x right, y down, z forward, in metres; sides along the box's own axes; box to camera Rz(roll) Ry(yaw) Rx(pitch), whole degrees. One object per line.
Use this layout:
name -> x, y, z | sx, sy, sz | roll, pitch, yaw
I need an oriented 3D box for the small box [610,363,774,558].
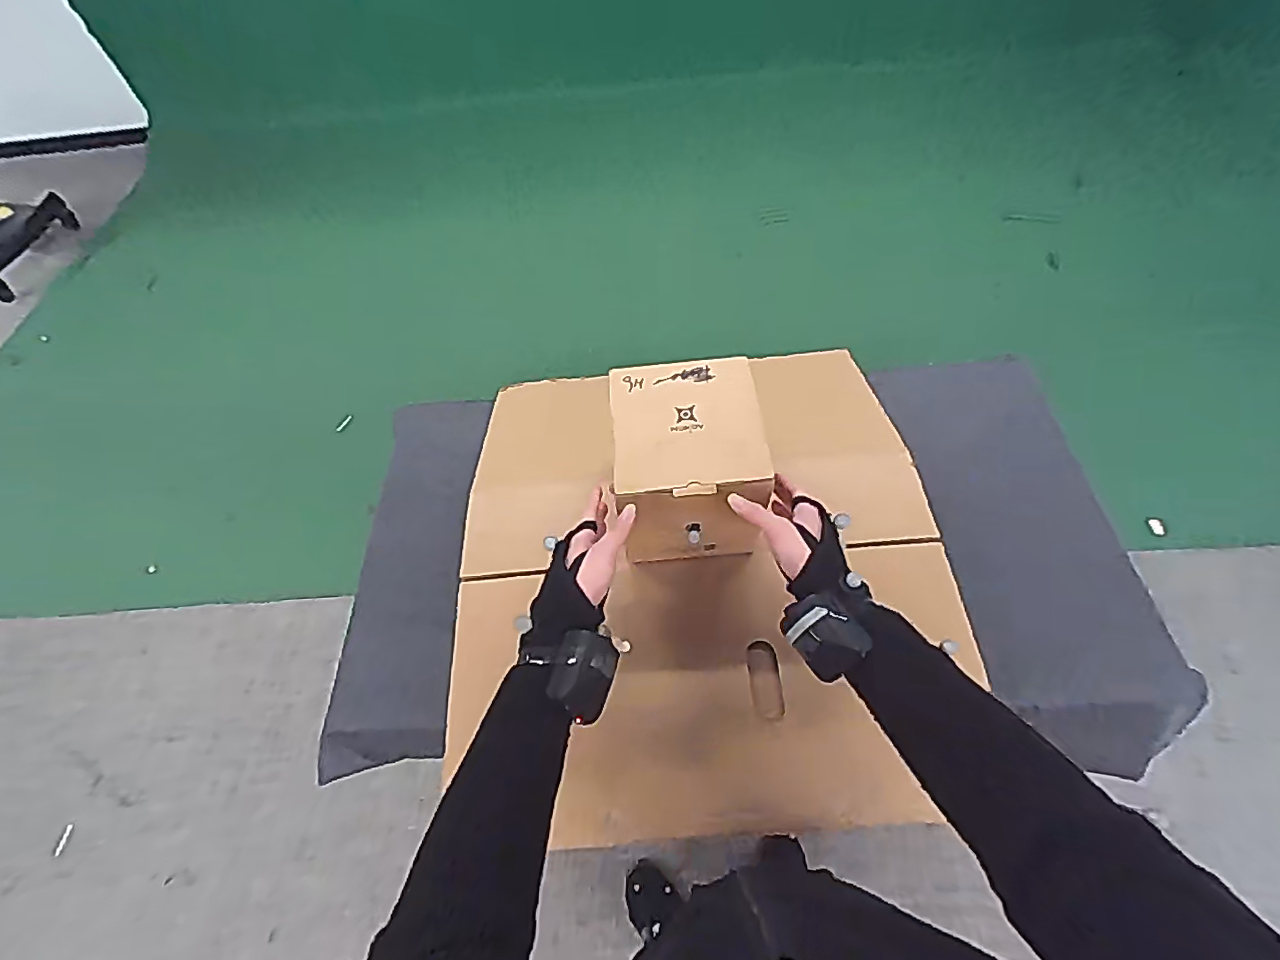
small box -> 0.060, -0.014, 0.668 | 0.168, 0.176, 0.179 | -8, 57, 1
